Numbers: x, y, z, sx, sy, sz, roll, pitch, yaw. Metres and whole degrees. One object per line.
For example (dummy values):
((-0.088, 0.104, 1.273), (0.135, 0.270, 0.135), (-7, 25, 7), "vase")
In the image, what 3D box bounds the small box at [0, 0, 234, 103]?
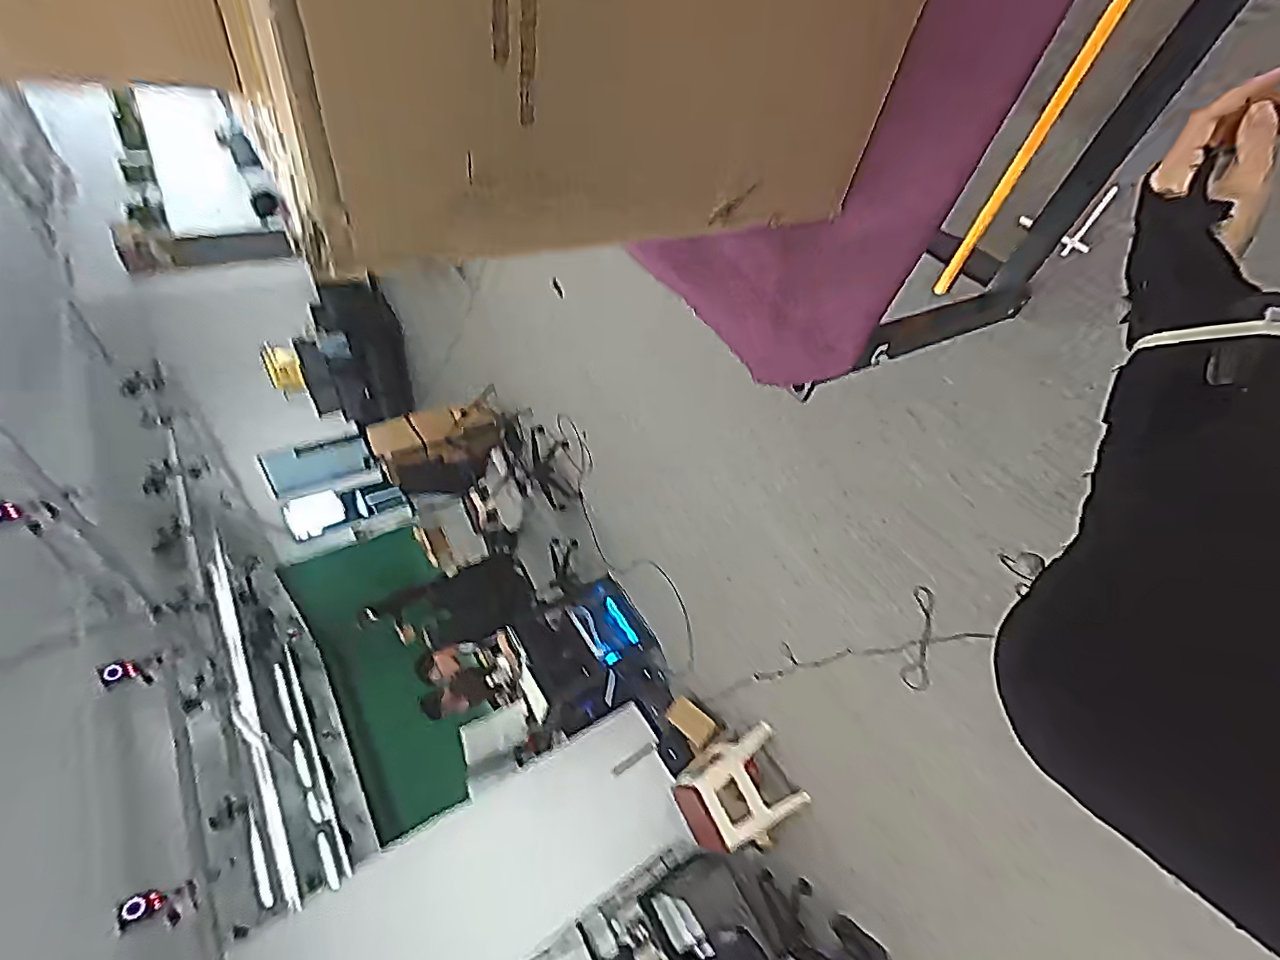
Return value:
((-0.450, -0.416, 0.422), (0.168, 0.176, 0.179), (48, 144, 32), "small box")
